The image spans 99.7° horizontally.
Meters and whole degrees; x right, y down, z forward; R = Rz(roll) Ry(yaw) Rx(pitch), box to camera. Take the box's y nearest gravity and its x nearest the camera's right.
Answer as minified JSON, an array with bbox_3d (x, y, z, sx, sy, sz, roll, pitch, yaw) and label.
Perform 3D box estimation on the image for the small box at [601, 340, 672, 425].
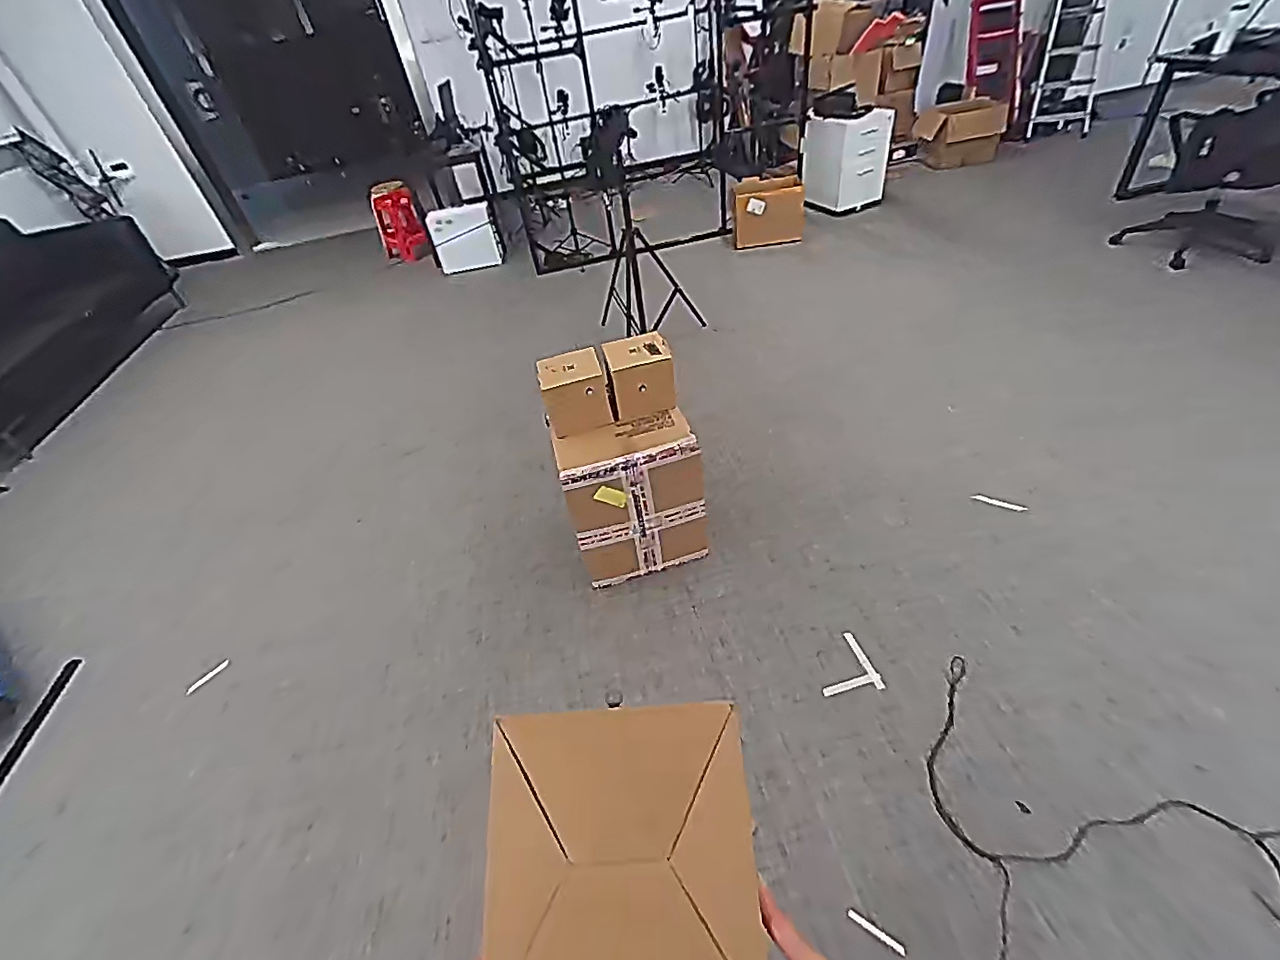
[{"bbox_3d":[-0.007,-0.287,1.598,0.179,0.176,0.168,-14,42,-6],"label":"small box"}]

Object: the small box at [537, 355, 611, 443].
[{"bbox_3d":[-0.190,-0.235,1.578,0.179,0.176,0.168,-16,42,-3],"label":"small box"}]
